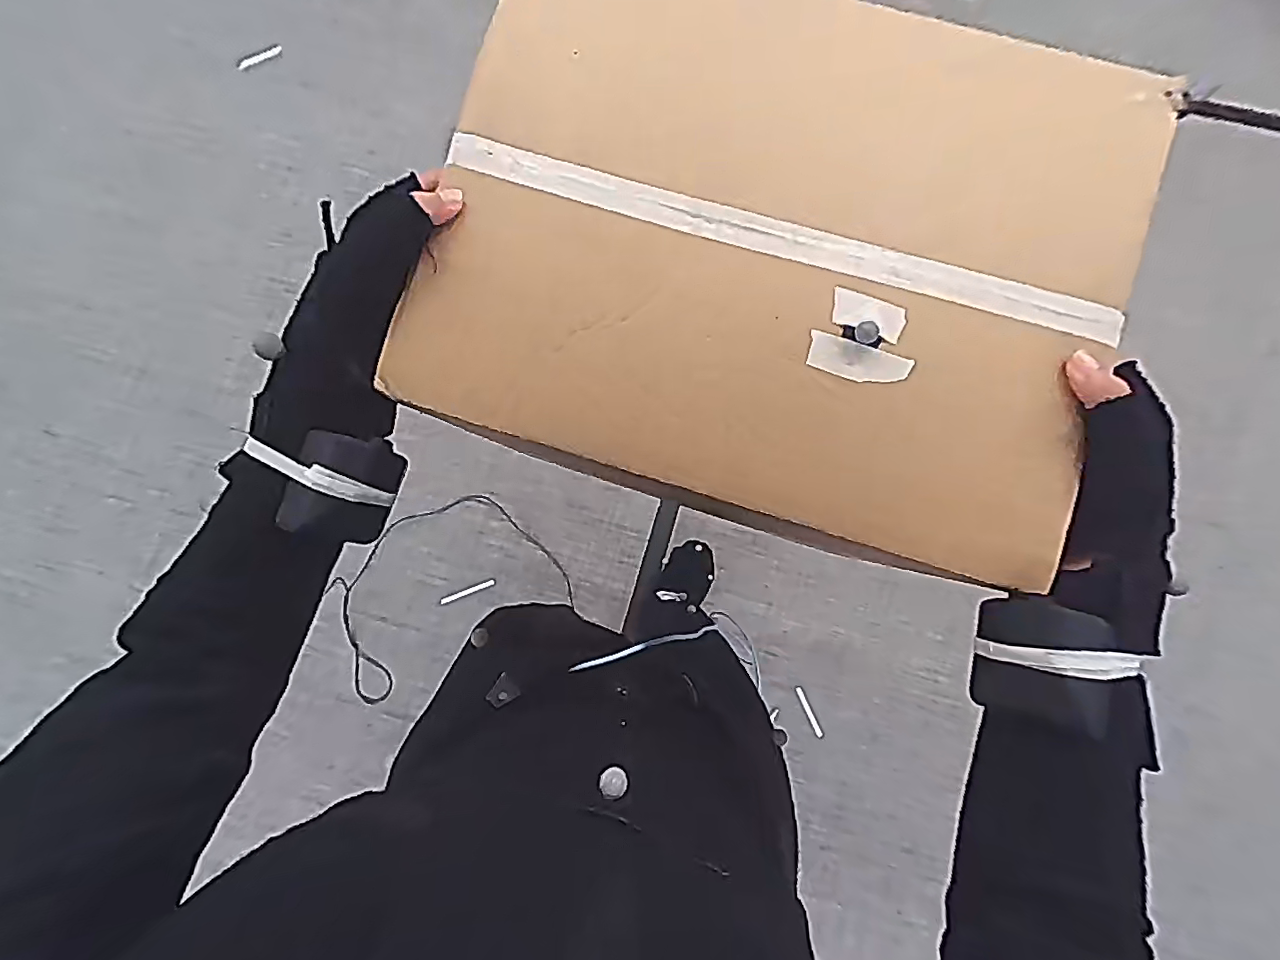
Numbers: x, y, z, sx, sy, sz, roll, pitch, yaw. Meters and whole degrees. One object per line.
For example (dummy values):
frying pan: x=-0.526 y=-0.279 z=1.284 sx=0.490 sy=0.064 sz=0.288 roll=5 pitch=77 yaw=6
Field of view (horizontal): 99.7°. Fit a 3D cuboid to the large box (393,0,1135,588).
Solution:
large box: x=0.079 y=-0.124 z=0.484 sx=0.408 sy=0.320 sz=0.320 roll=17 pitch=88 yaw=3
